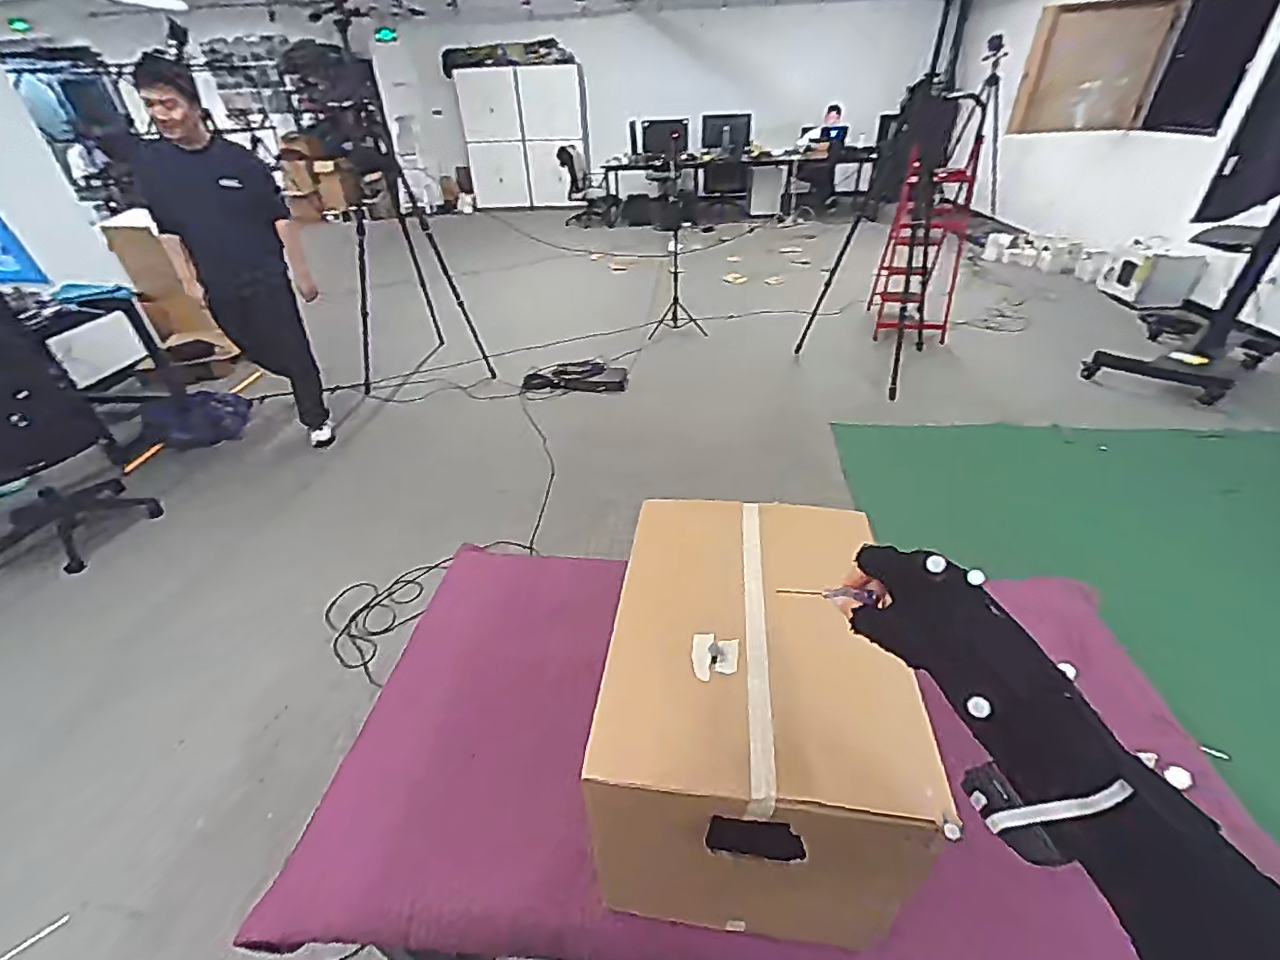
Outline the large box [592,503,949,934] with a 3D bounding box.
[{"bbox_3d":[0.134,0.280,0.710,0.320,0.320,0.408,3,36,8],"label":"large box"}]
